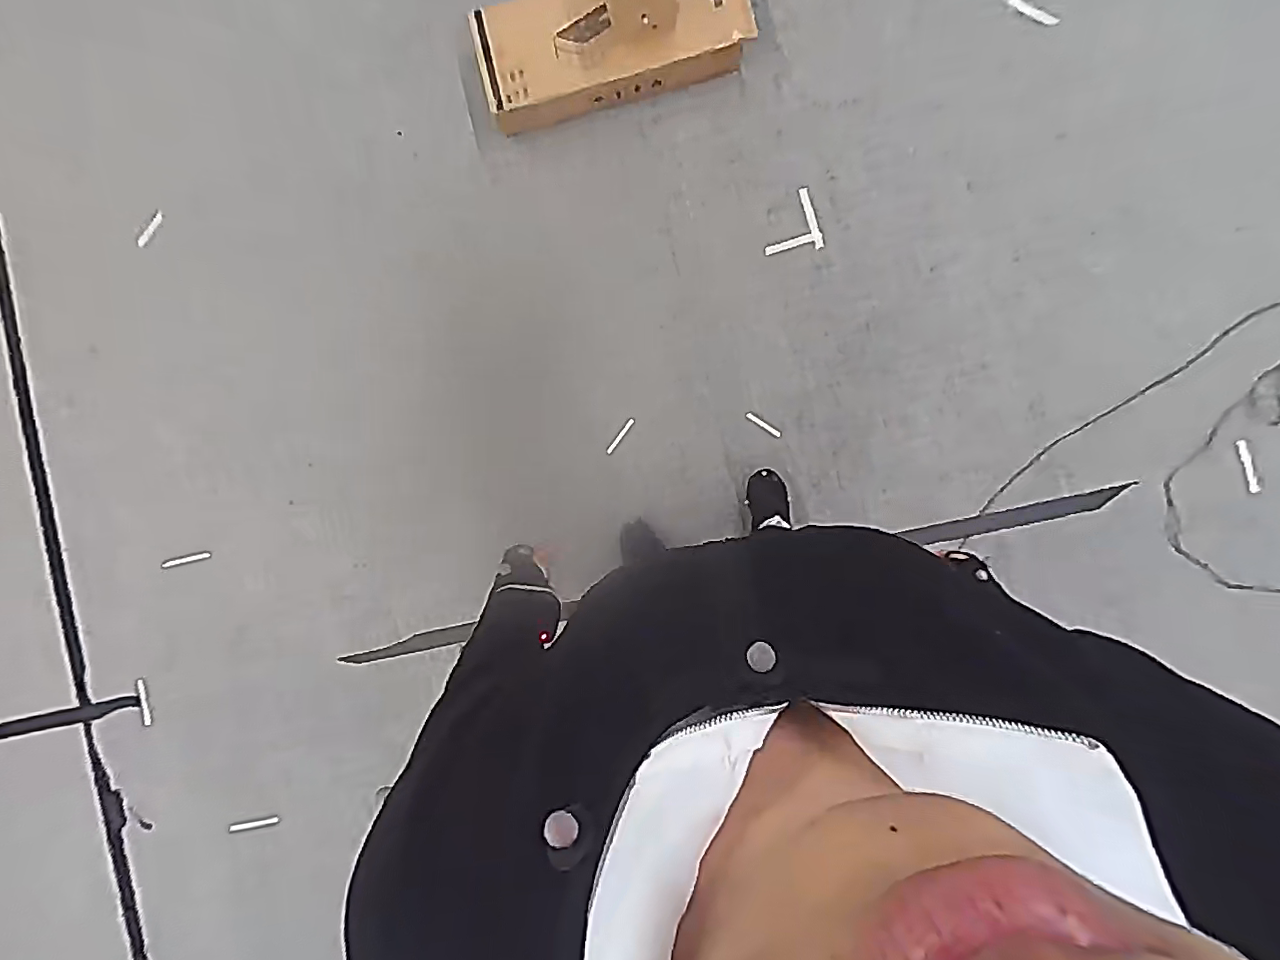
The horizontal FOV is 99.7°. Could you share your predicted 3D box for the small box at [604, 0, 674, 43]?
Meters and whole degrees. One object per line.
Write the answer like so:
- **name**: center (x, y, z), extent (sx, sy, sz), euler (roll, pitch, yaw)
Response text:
- **small box**: center (-0.013, -1.264, 1.355), extent (0.168, 0.176, 0.179), euler (-15, 87, 5)
